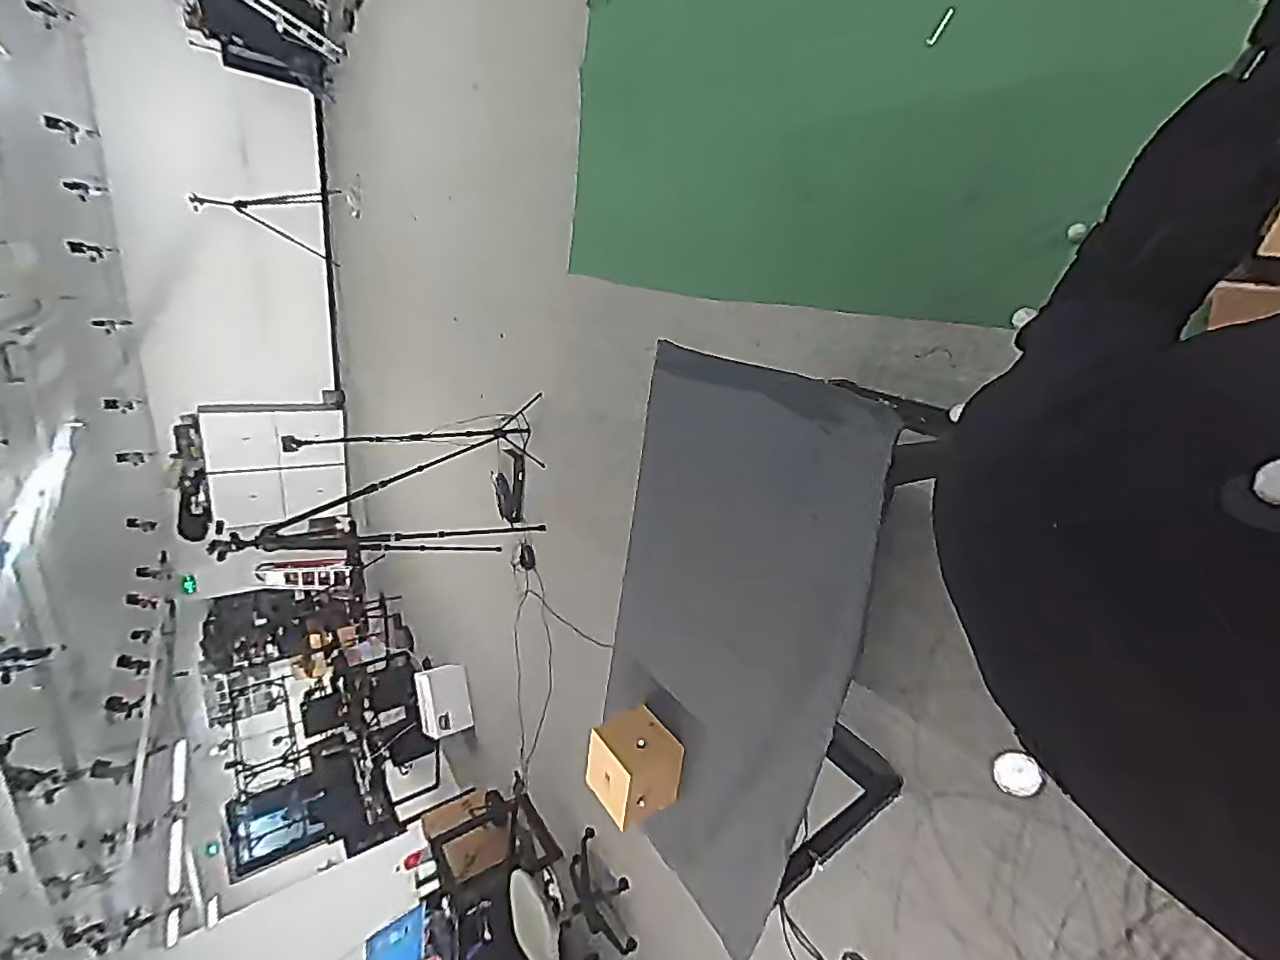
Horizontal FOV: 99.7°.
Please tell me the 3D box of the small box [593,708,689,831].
[{"bbox_3d":[0.002,0.703,1.336,0.168,0.176,0.179,28,119,48],"label":"small box"}]
